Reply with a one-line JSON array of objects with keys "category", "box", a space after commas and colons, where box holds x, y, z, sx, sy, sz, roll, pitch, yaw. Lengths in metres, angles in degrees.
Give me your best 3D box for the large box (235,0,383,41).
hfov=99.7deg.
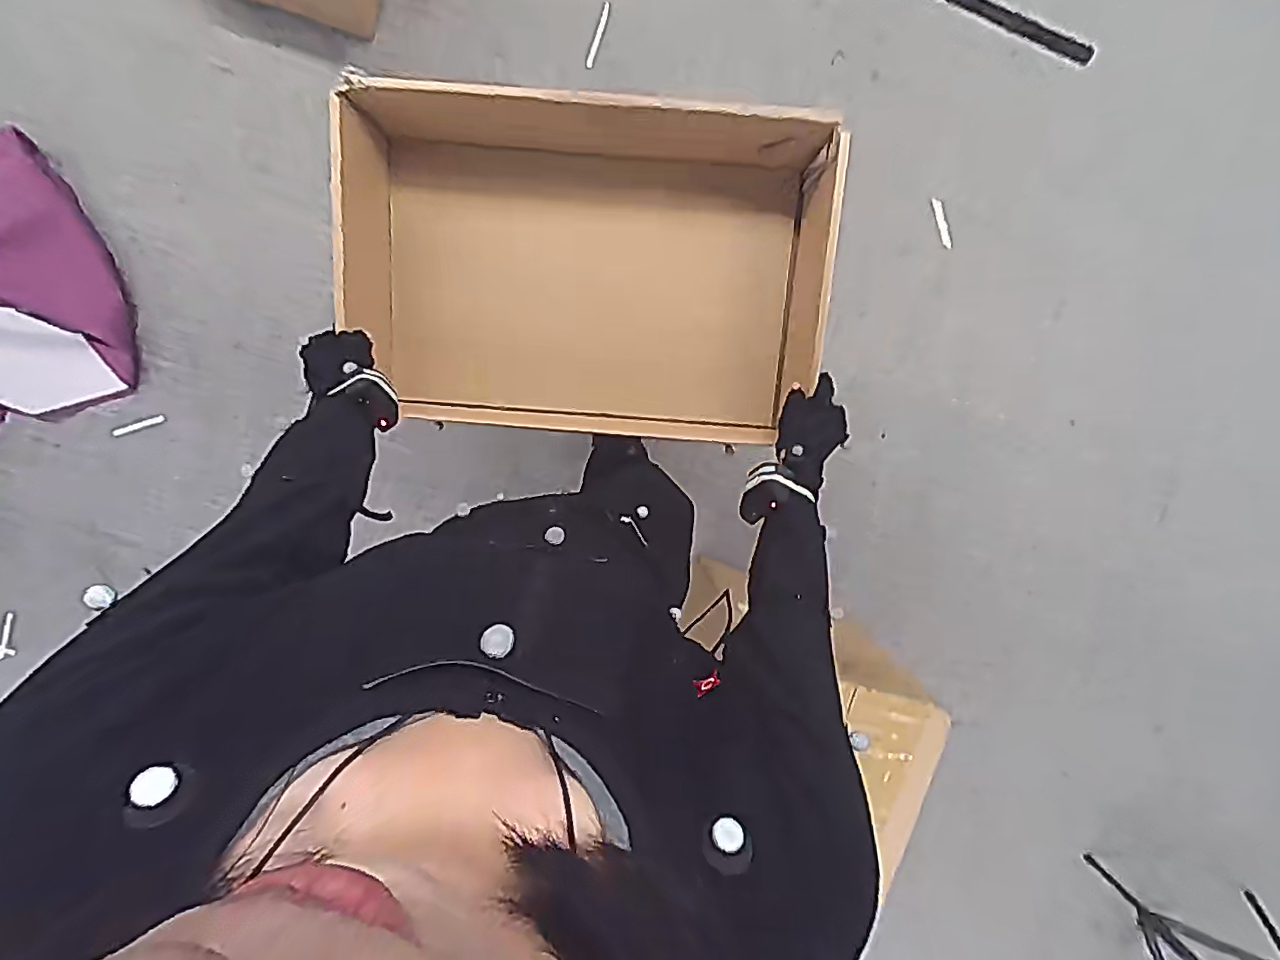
[{"category": "large box", "box": [-0.796, -1.249, 1.151, 0.408, 0.320, 0.320, 14, 97, -6]}]
